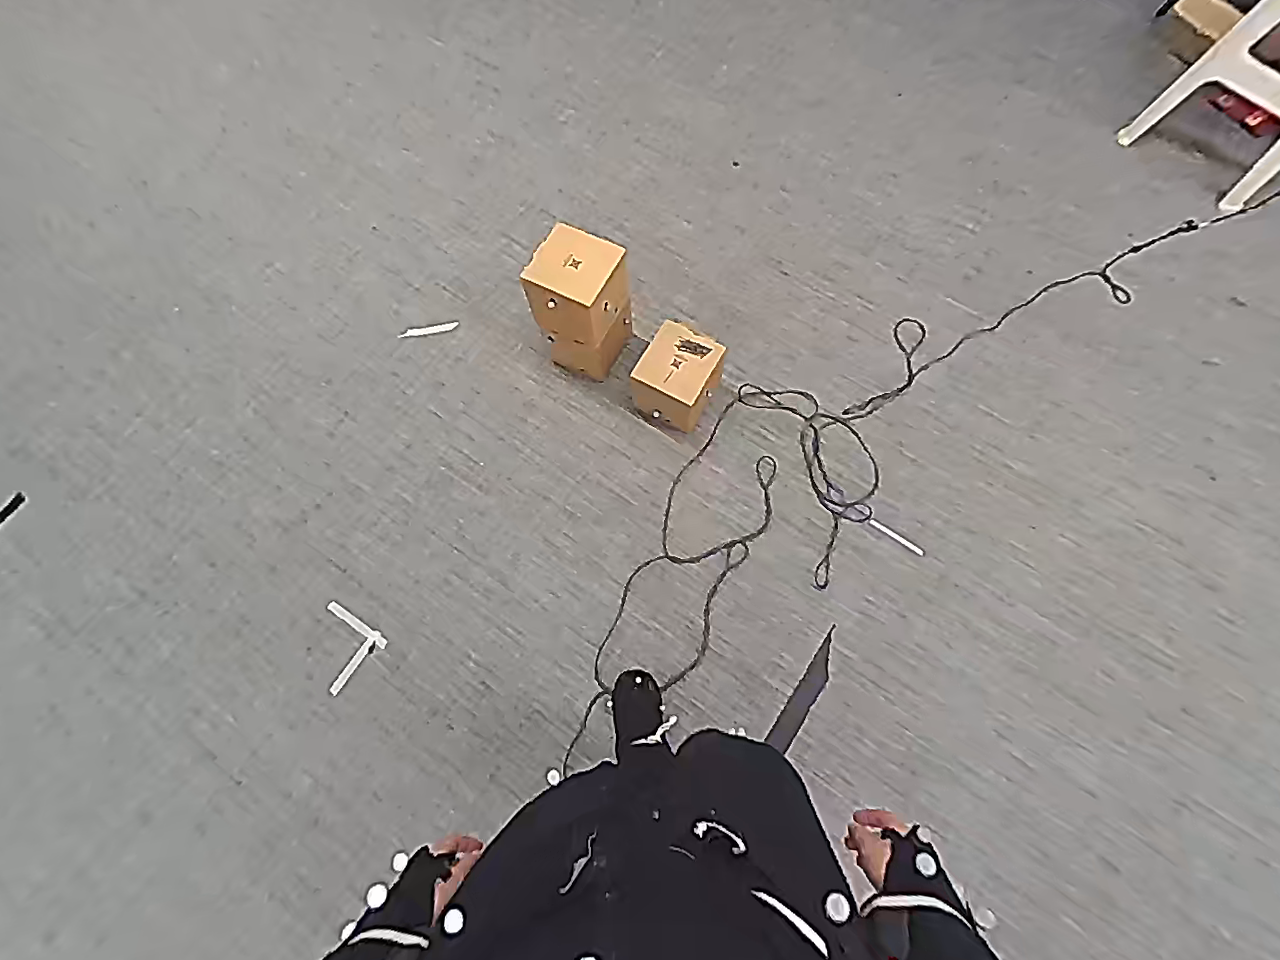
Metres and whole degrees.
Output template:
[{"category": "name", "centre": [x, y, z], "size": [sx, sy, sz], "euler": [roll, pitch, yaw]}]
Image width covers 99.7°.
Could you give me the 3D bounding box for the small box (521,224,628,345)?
[{"category": "small box", "centre": [-0.138, -0.433, 1.225], "size": [0.179, 0.176, 0.168], "euler": [25, 74, 10]}]

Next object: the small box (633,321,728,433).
[{"category": "small box", "centre": [0.095, -0.247, 1.325], "size": [0.168, 0.176, 0.179], "euler": [29, 76, 11]}]
